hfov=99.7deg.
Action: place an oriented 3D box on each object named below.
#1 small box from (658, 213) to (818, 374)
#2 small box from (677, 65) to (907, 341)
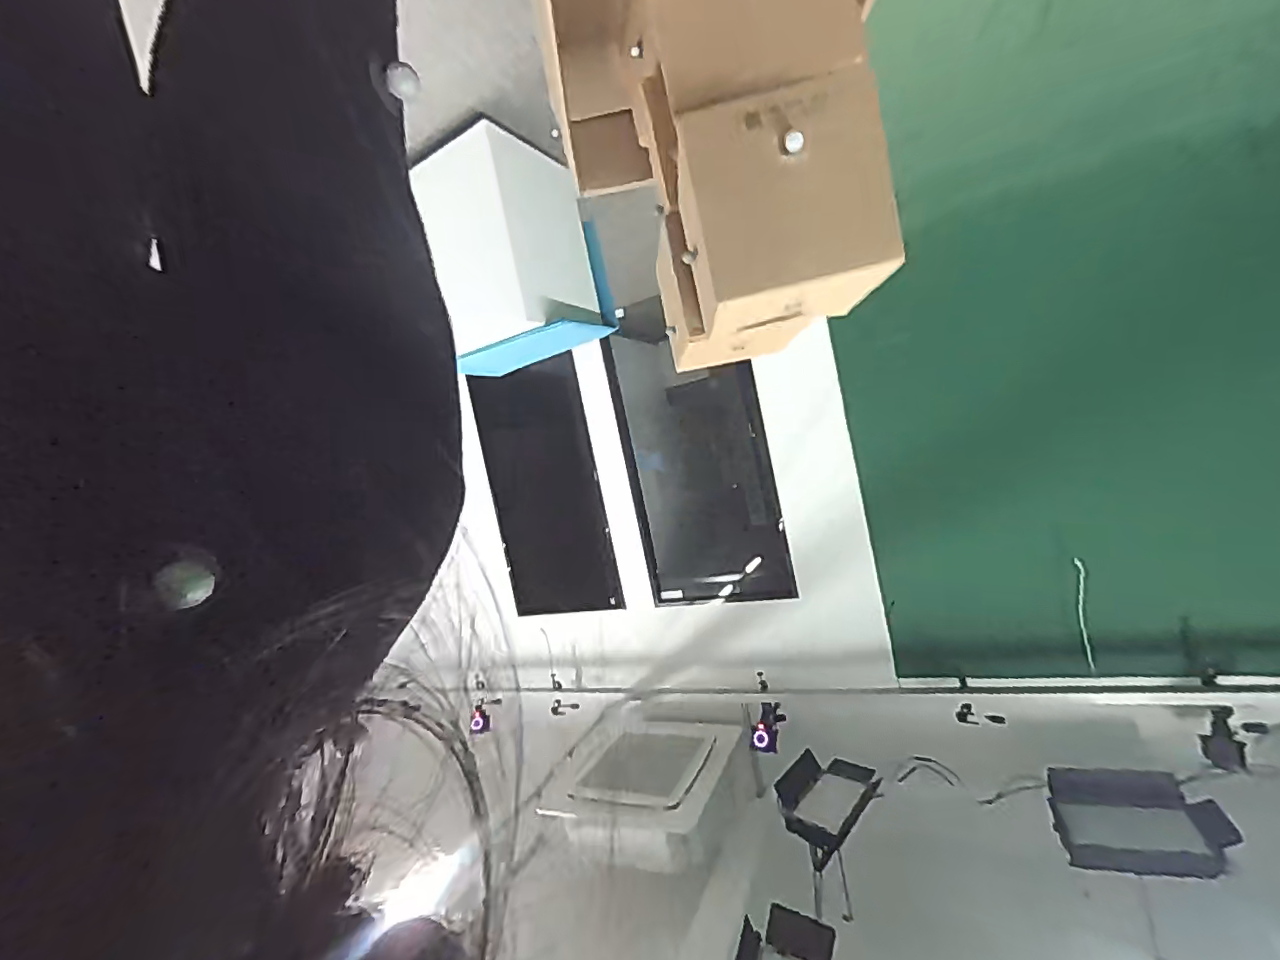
[{"bbox_3d":[0.123,-0.263,0.749,0.168,0.176,0.179,-12,179,-2],"label":"small box"},{"bbox_3d":[0.136,-0.257,0.540,0.168,0.176,0.179,-13,-179,5],"label":"small box"}]
